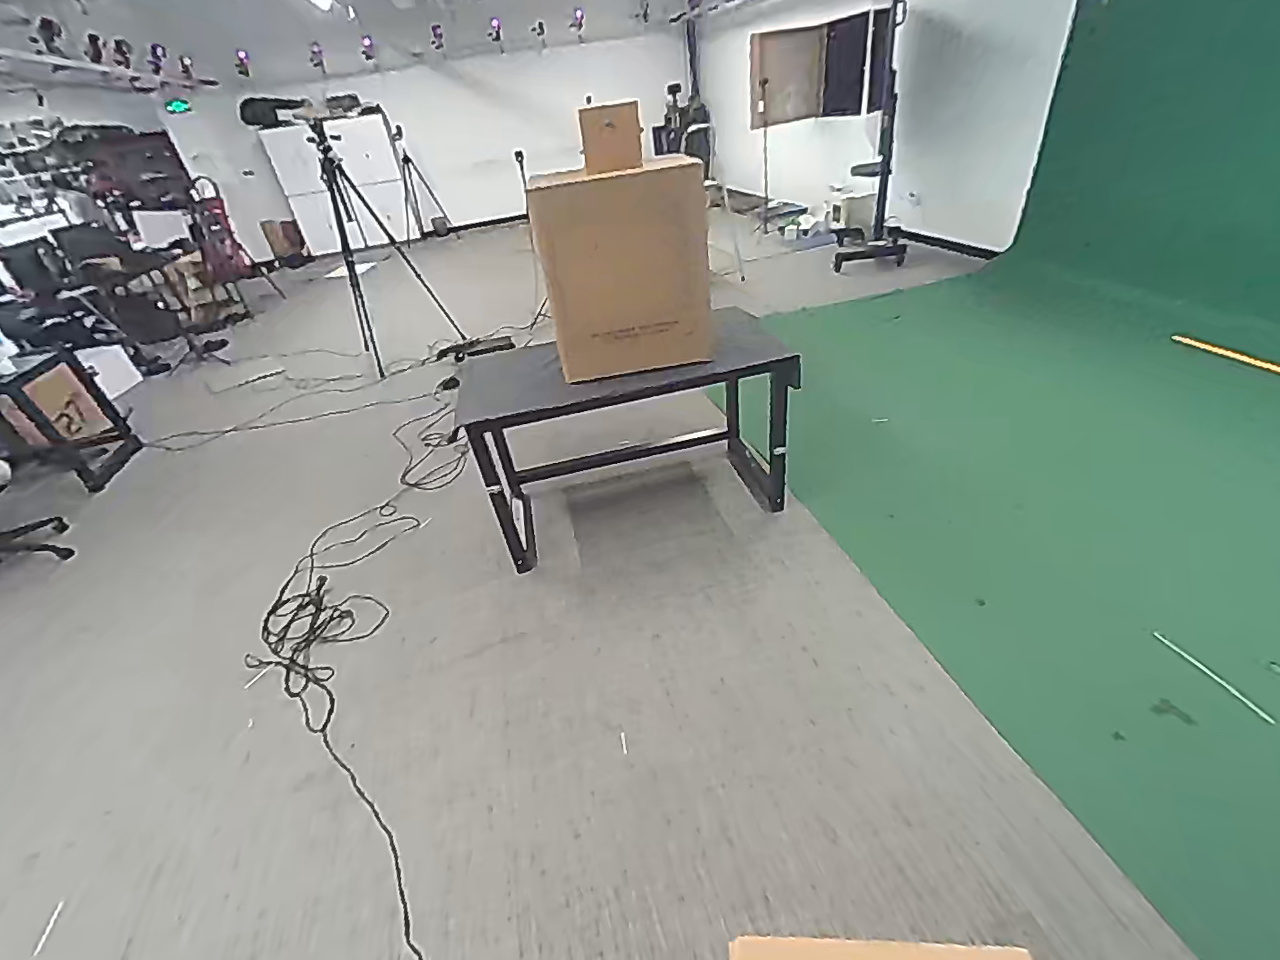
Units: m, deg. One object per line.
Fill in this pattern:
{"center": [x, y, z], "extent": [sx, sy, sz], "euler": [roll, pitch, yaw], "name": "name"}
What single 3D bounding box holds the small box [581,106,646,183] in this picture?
{"center": [-0.079, -1.016, 1.634], "extent": [0.179, 0.176, 0.168], "euler": [-9, 37, 0], "name": "small box"}
